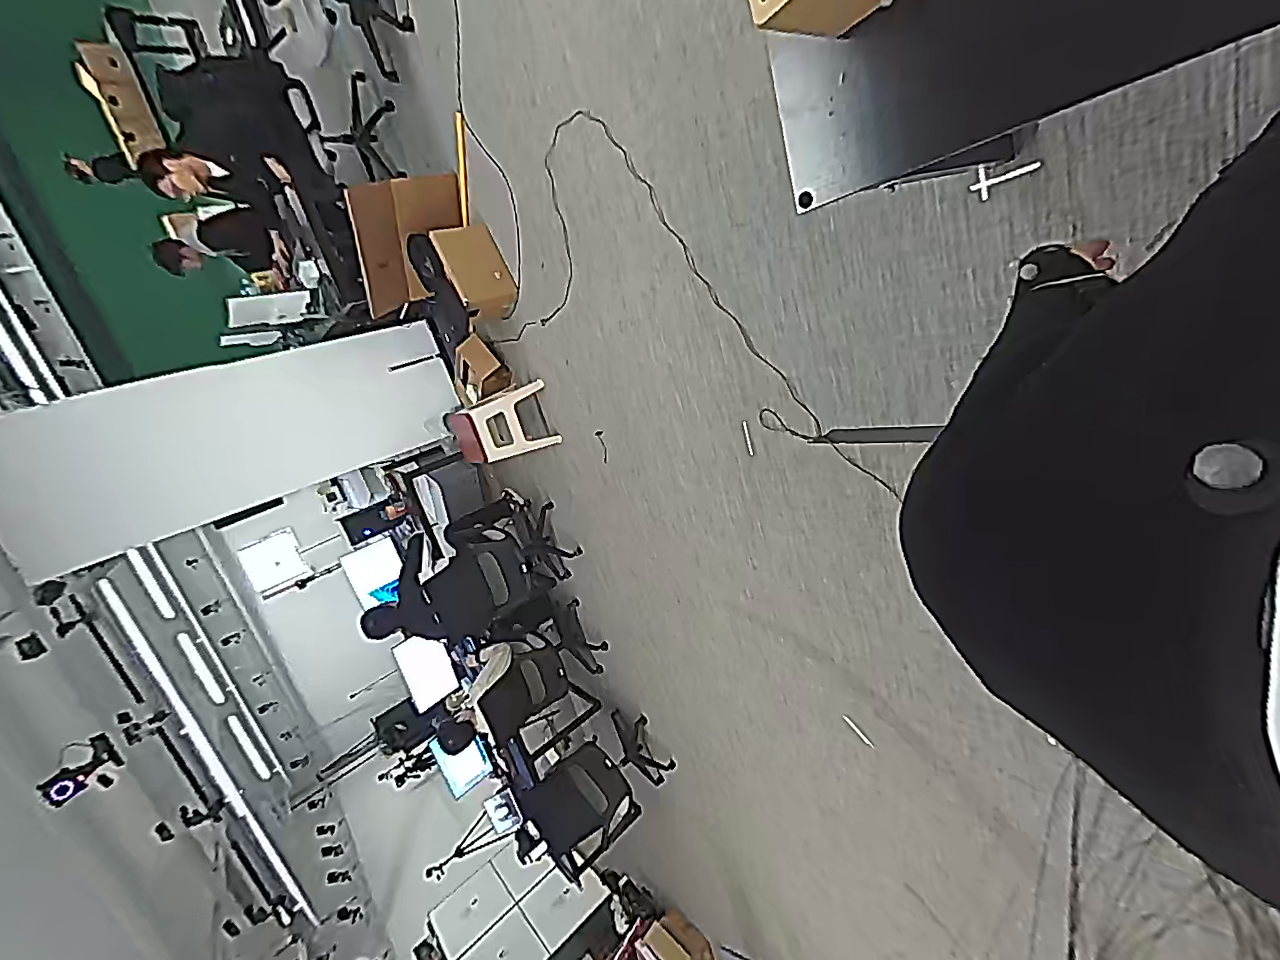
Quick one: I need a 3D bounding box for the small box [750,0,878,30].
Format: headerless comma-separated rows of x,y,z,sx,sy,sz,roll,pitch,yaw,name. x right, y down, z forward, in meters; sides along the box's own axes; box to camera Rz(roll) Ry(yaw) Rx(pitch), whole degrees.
0.213,-0.609,0.554,0.179,0.176,0.168,0,112,51,small box
